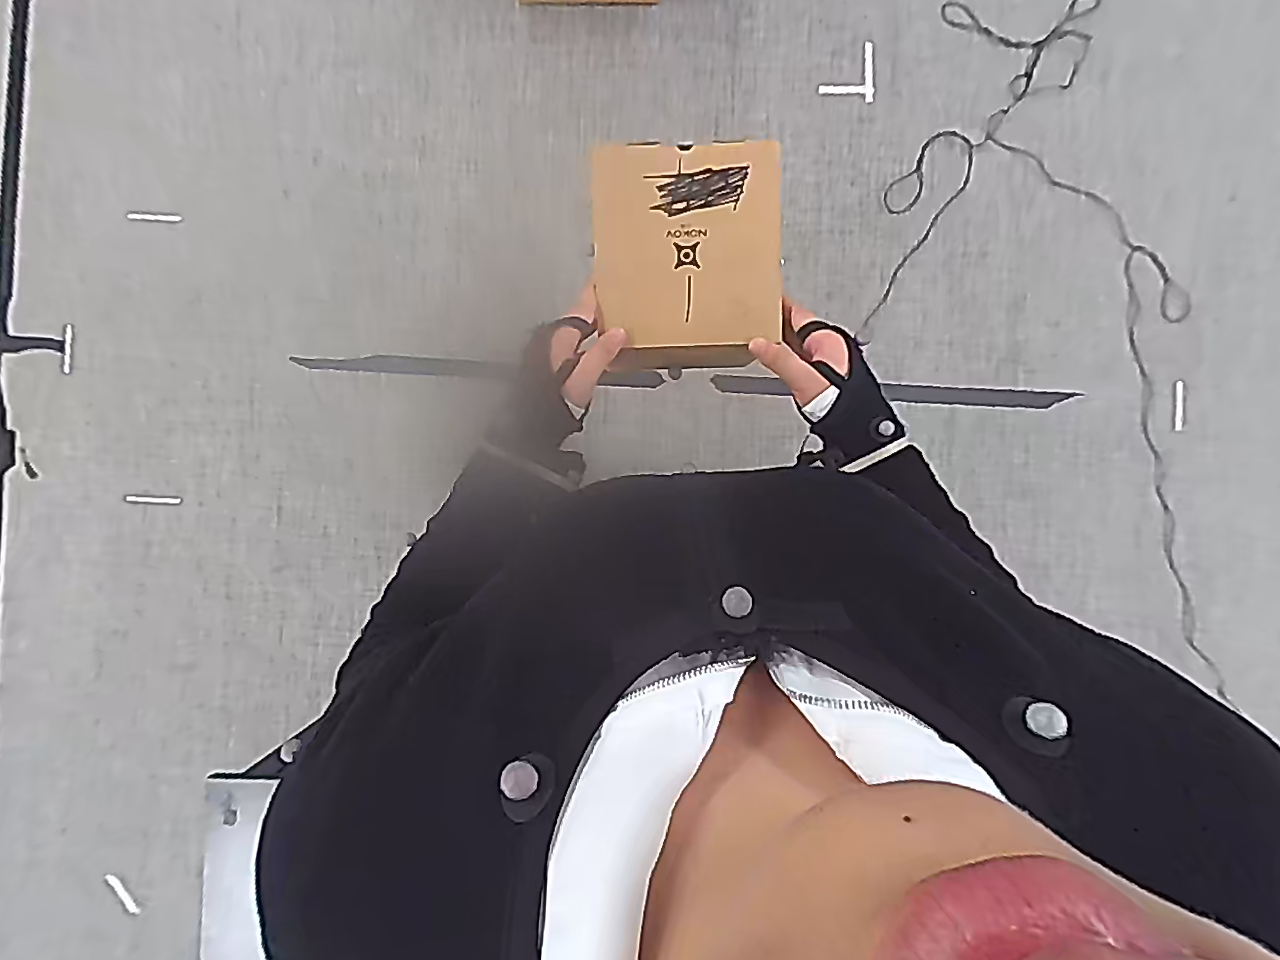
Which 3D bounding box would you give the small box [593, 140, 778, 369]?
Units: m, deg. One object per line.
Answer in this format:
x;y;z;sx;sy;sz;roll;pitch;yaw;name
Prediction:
0.039;-0.215;0.557;0.168;0.176;0.179;-2;95;0;small box
